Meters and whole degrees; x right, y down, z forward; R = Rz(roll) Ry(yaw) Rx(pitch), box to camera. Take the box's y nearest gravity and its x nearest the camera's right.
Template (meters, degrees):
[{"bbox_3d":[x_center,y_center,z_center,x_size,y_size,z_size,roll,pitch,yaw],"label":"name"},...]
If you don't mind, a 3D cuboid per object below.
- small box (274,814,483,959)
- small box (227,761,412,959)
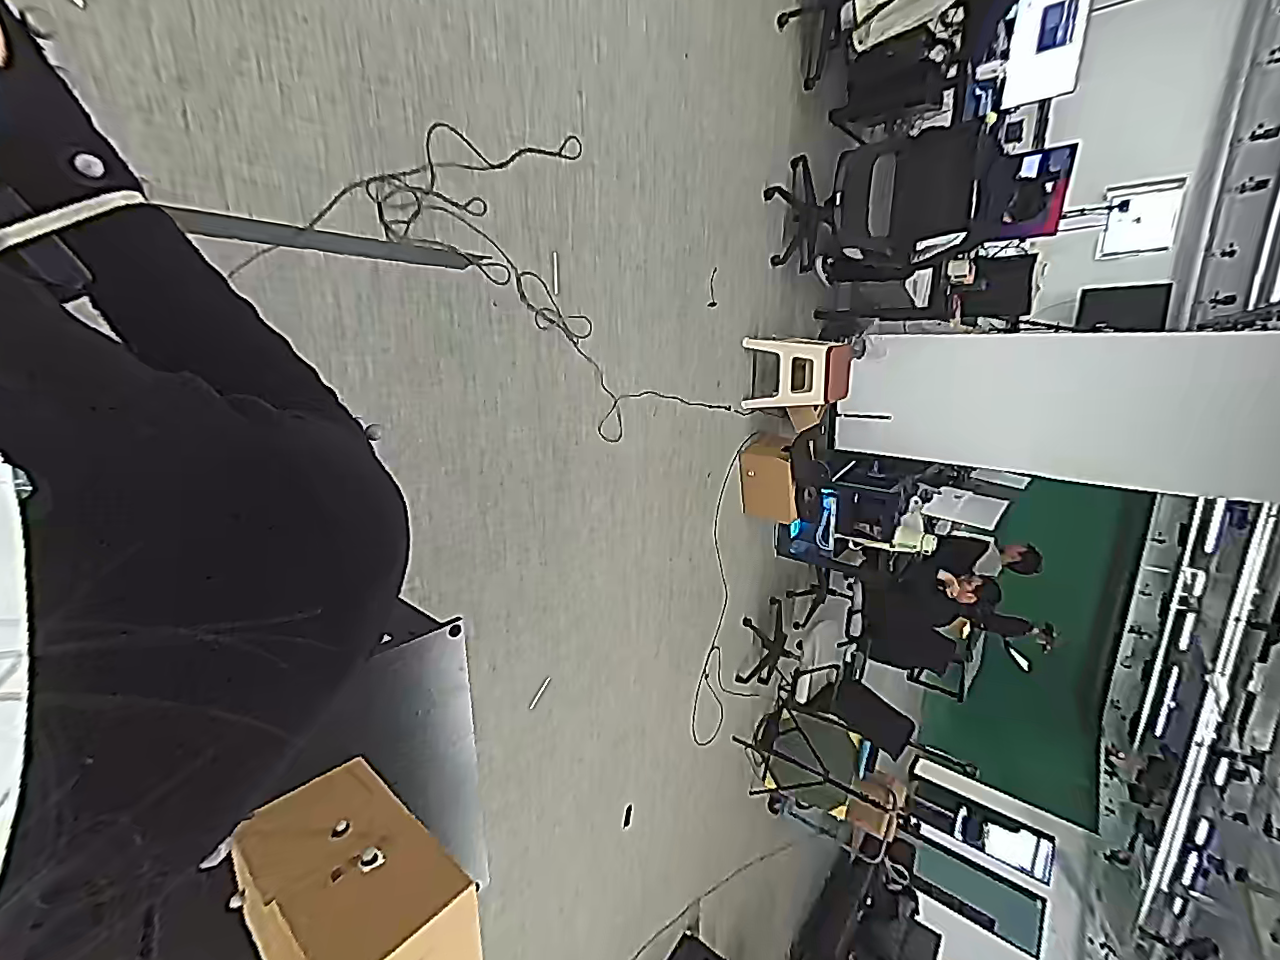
[{"bbox_3d":[-0.311,0.559,0.653,0.168,0.176,0.179,-17,111,-49],"label":"small box"},{"bbox_3d":[-0.437,0.536,0.753,0.179,0.176,0.168,-15,110,-47],"label":"small box"}]
